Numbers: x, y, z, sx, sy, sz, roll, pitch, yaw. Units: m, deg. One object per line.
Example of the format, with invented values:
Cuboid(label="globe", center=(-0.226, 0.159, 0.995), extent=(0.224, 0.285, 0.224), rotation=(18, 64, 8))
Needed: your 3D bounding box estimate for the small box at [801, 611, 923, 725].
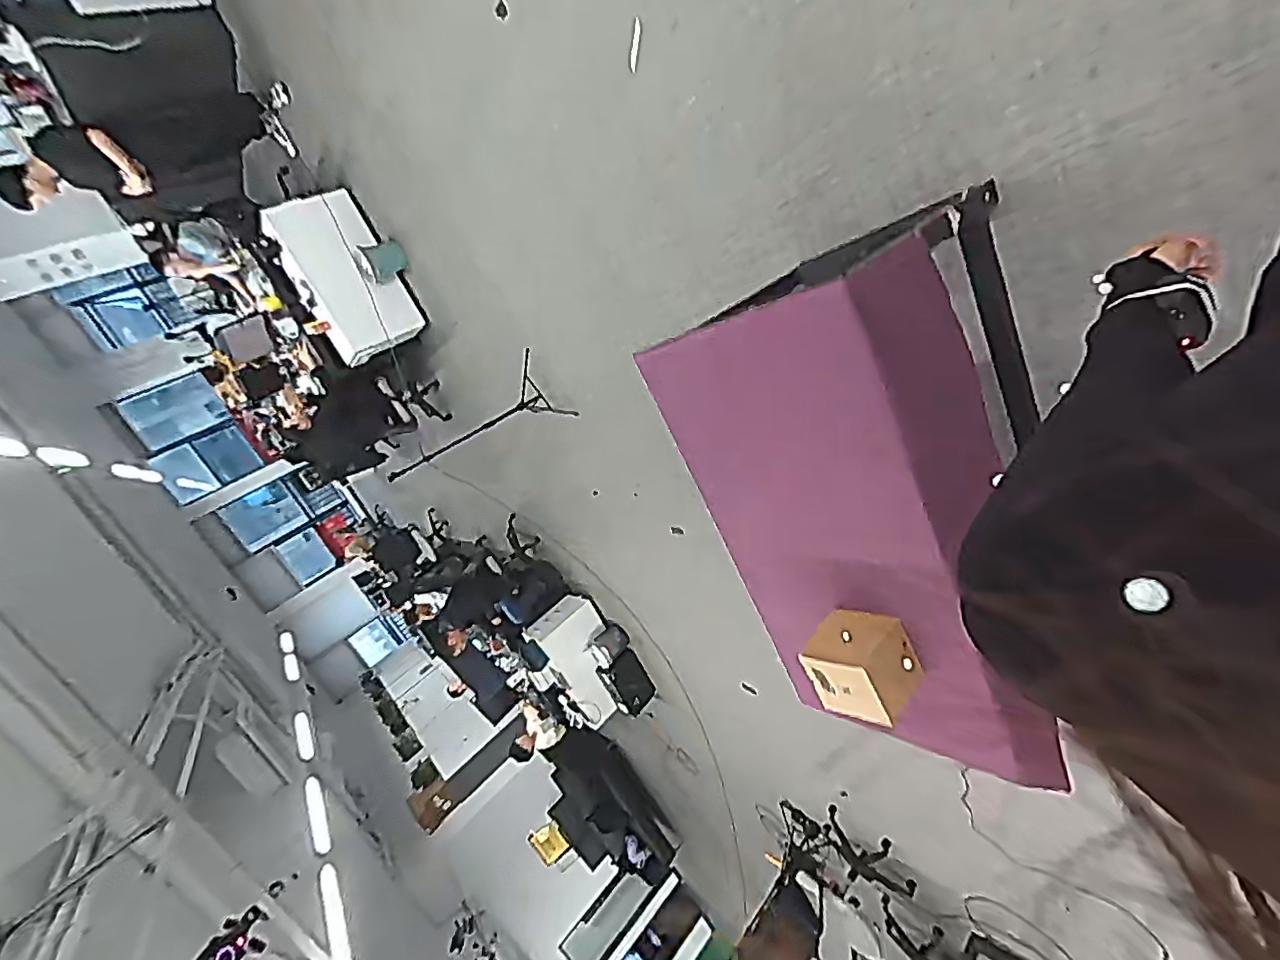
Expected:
Cuboid(label="small box", center=(0.514, 0.423, 1.250), extent=(0.179, 0.176, 0.168), rotation=(-10, 114, 56))
